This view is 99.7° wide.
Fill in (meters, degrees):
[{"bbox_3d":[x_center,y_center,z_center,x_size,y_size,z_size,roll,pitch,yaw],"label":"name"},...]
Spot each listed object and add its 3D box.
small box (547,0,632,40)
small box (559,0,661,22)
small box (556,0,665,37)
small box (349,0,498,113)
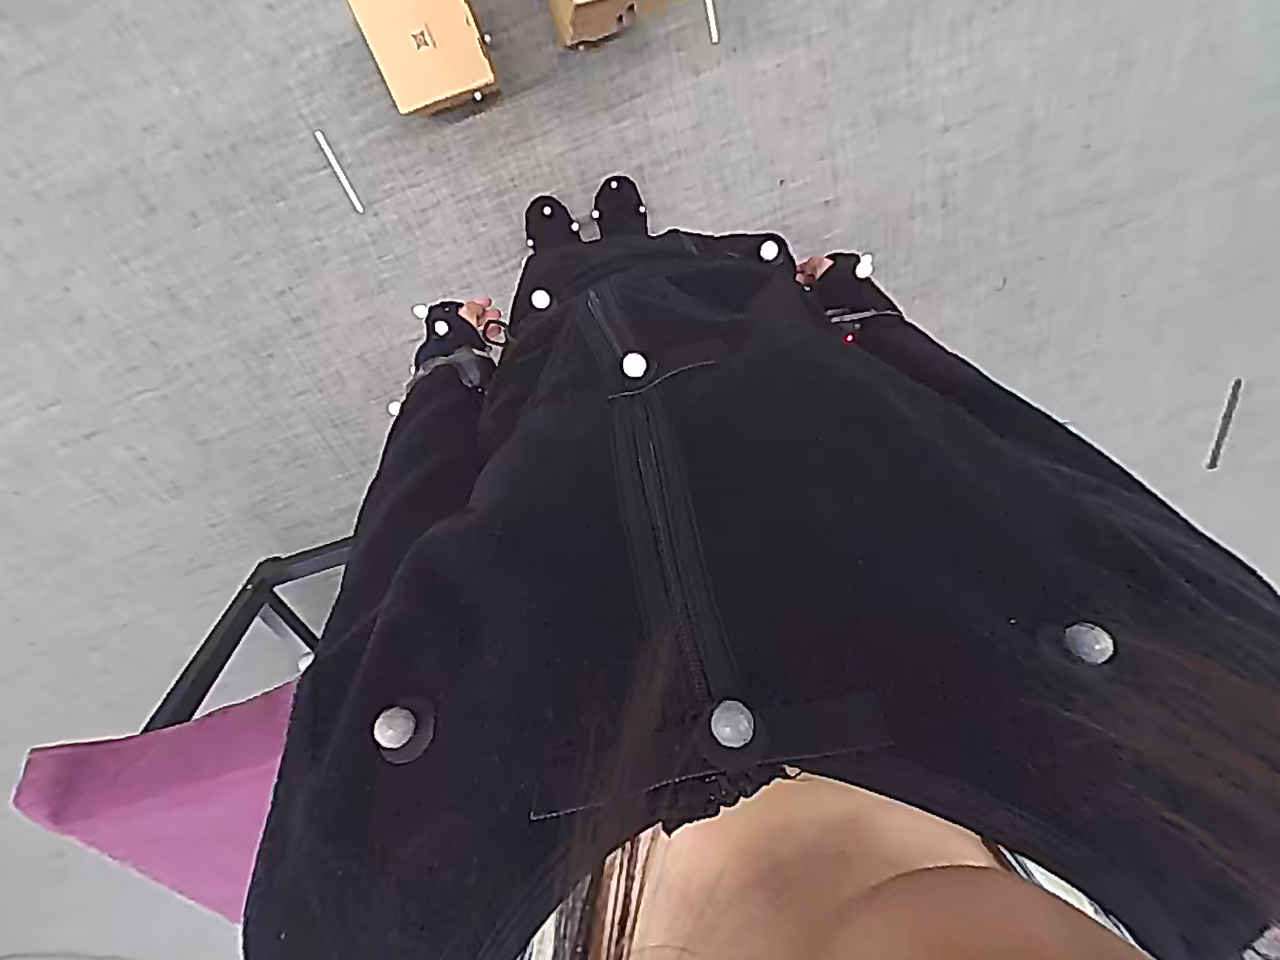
[{"bbox_3d":[-0.086,-0.882,0.918,0.168,0.176,0.179,-20,123,2],"label":"small box"},{"bbox_3d":[-0.024,-0.691,0.657,0.179,0.176,0.168,-16,124,-1],"label":"small box"},{"bbox_3d":[-0.051,-0.782,0.791,0.179,0.176,0.168,-18,125,1],"label":"small box"},{"bbox_3d":[-0.364,-0.764,0.945,0.179,0.176,0.168,-19,124,2],"label":"small box"}]
